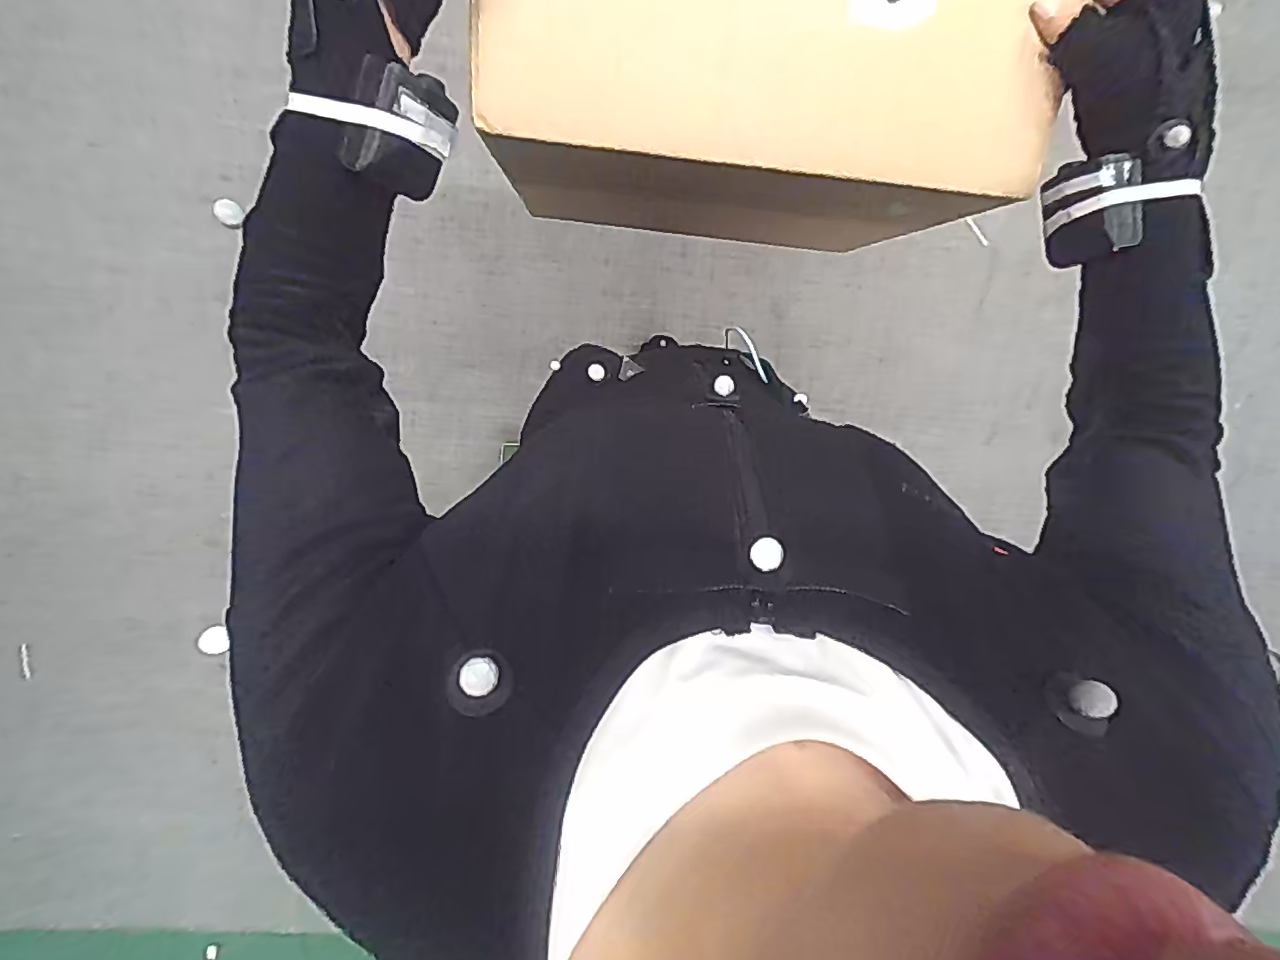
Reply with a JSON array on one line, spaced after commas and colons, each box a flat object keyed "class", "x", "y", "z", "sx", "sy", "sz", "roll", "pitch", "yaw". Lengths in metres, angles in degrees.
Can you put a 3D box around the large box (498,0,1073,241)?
[{"class": "large box", "x": 0.094, "y": -0.420, "z": 0.493, "sx": 0.408, "sy": 0.320, "sz": 0.320, "roll": 3, "pitch": 106, "yaw": -6}]
